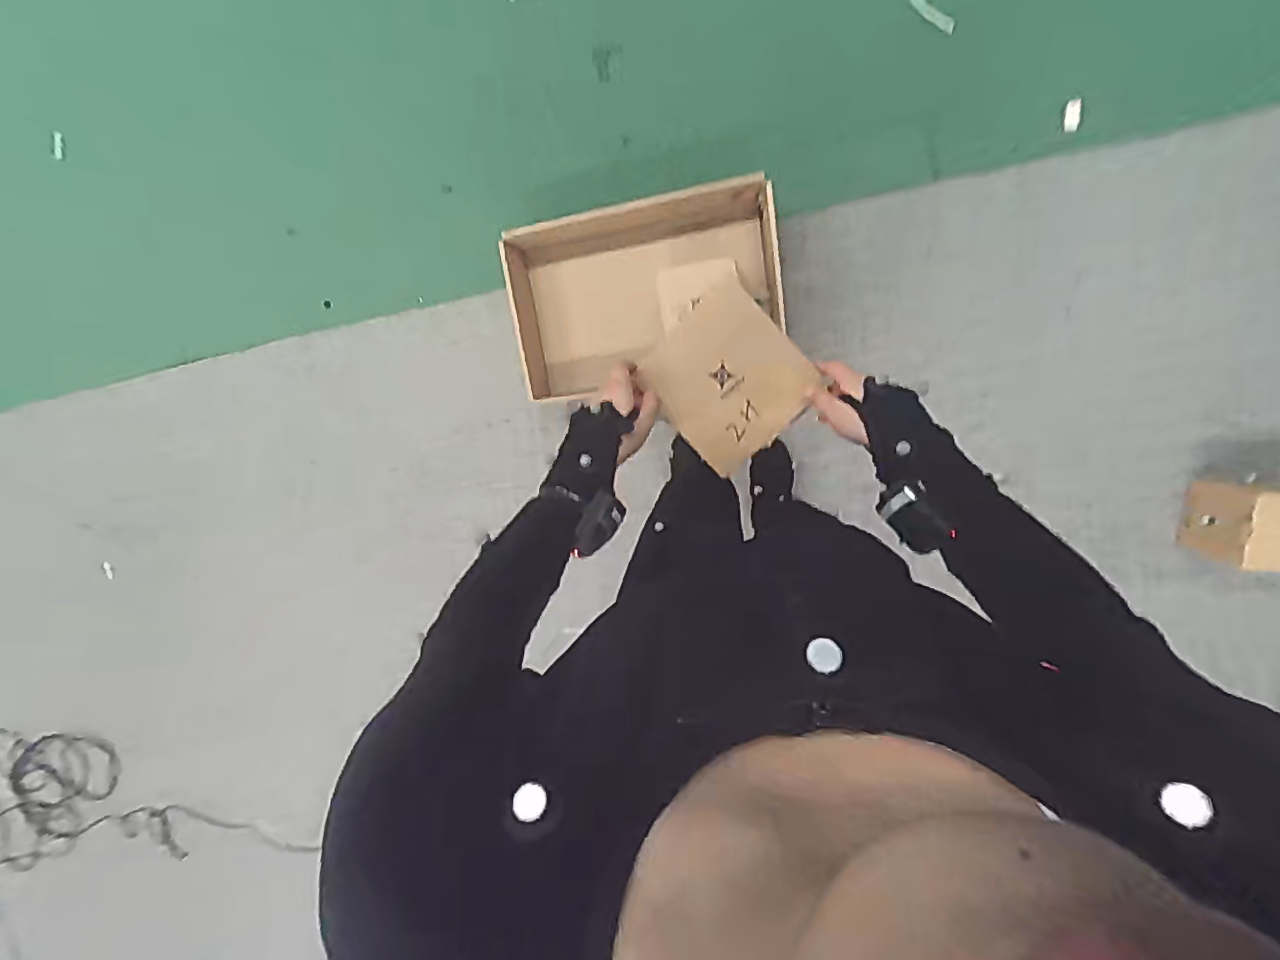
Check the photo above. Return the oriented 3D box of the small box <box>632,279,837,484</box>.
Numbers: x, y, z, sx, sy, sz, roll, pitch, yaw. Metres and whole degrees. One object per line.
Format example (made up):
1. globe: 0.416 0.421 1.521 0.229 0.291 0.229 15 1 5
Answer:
1. small box: 0.120 -0.127 0.690 0.179 0.176 0.168 46 111 -4

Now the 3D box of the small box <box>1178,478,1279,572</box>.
1. small box: 1.340 0.094 1.174 0.179 0.176 0.168 4 102 10
